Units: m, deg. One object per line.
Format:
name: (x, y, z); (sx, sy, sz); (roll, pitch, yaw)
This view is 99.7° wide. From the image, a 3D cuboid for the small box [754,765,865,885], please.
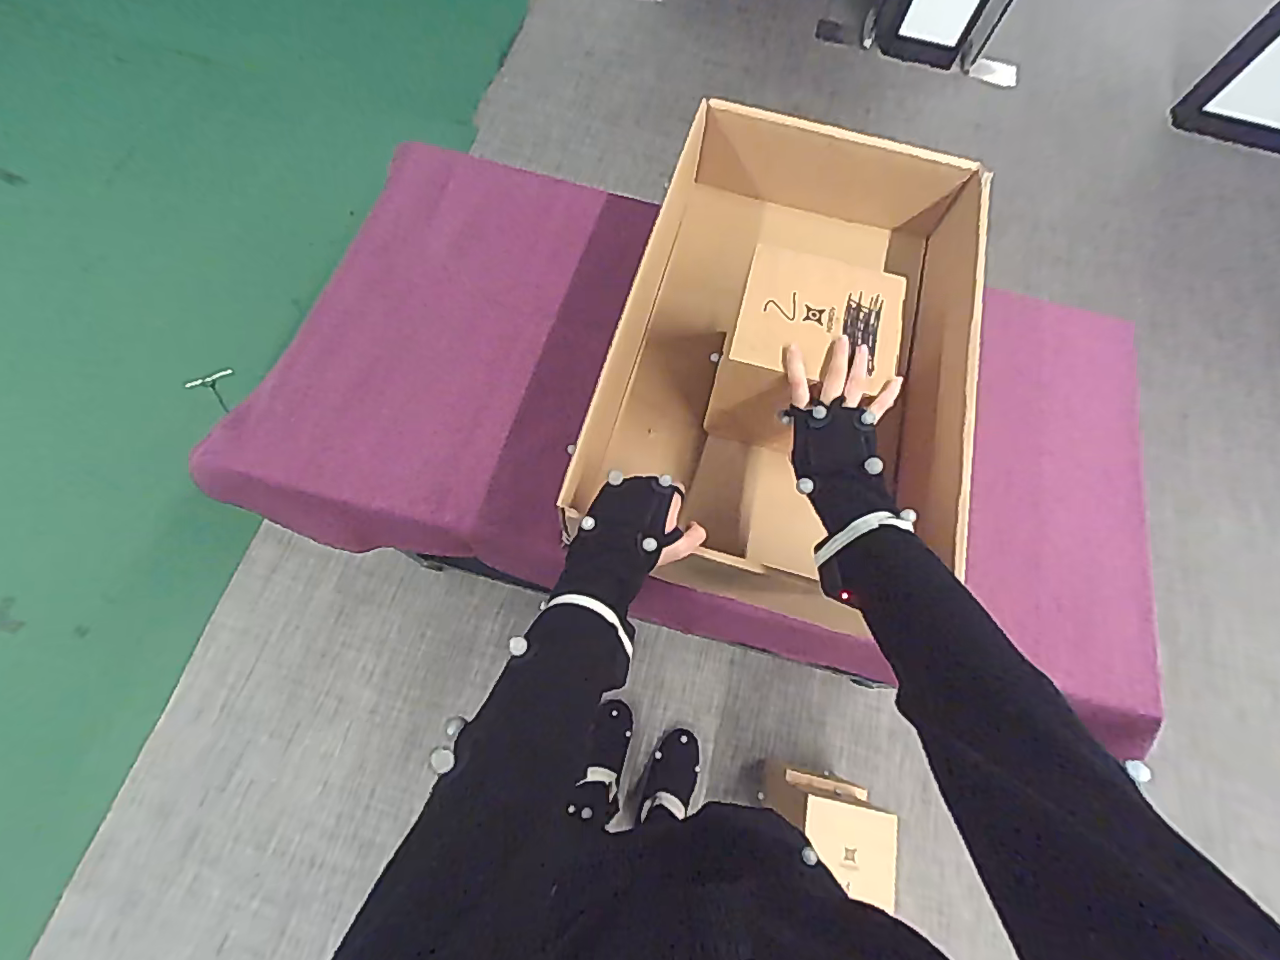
small box: (0.363, 0.737, 1.175); (0.179, 0.176, 0.168); (14, 69, 2)
